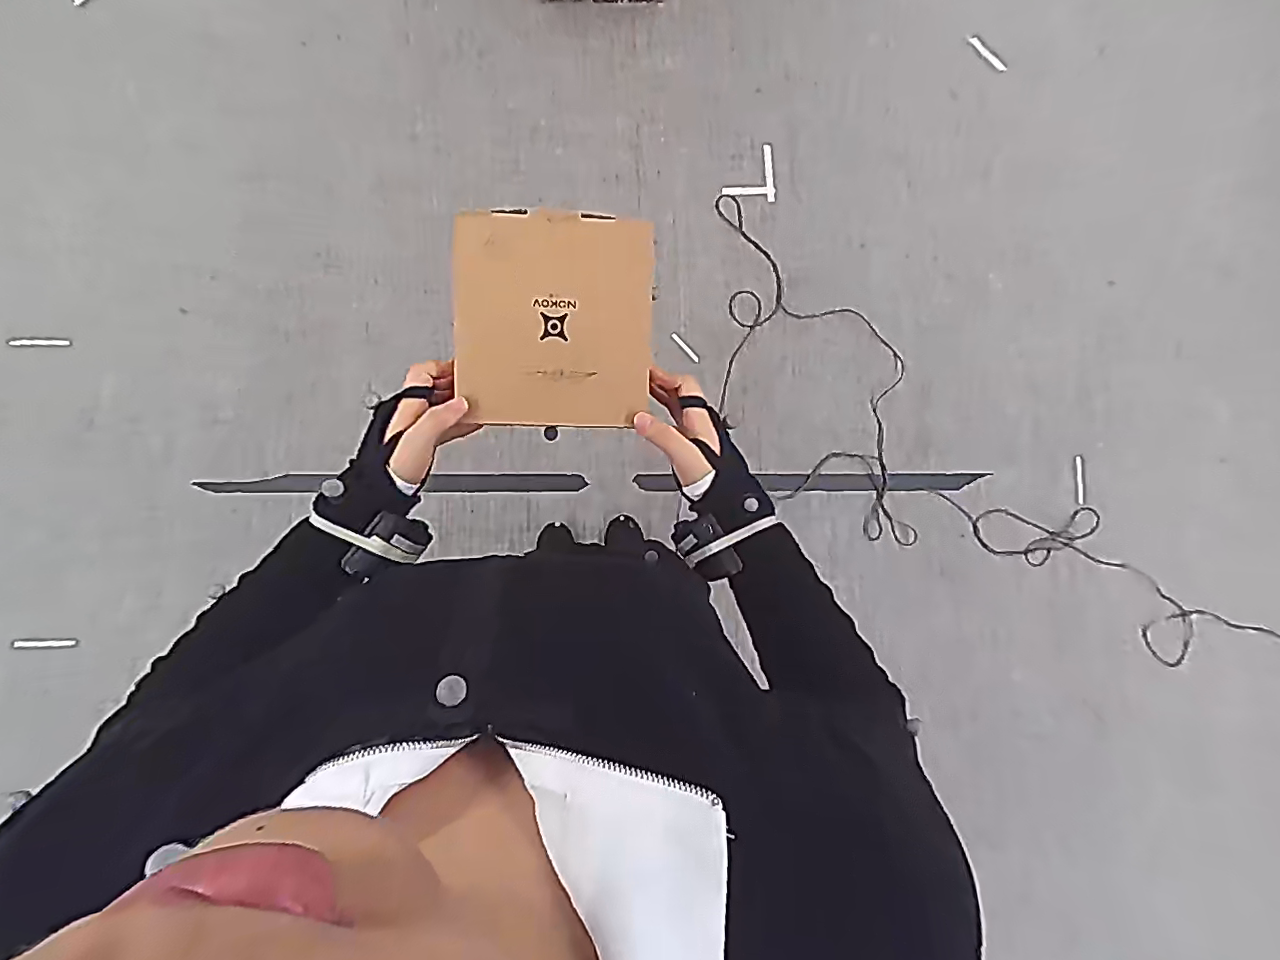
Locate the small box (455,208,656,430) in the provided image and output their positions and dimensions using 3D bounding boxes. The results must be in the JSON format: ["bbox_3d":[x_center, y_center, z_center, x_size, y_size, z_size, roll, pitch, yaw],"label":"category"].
[{"bbox_3d":[-0.077,-0.140,0.529,0.168,0.176,0.179,1,97,-4],"label":"small box"}]
